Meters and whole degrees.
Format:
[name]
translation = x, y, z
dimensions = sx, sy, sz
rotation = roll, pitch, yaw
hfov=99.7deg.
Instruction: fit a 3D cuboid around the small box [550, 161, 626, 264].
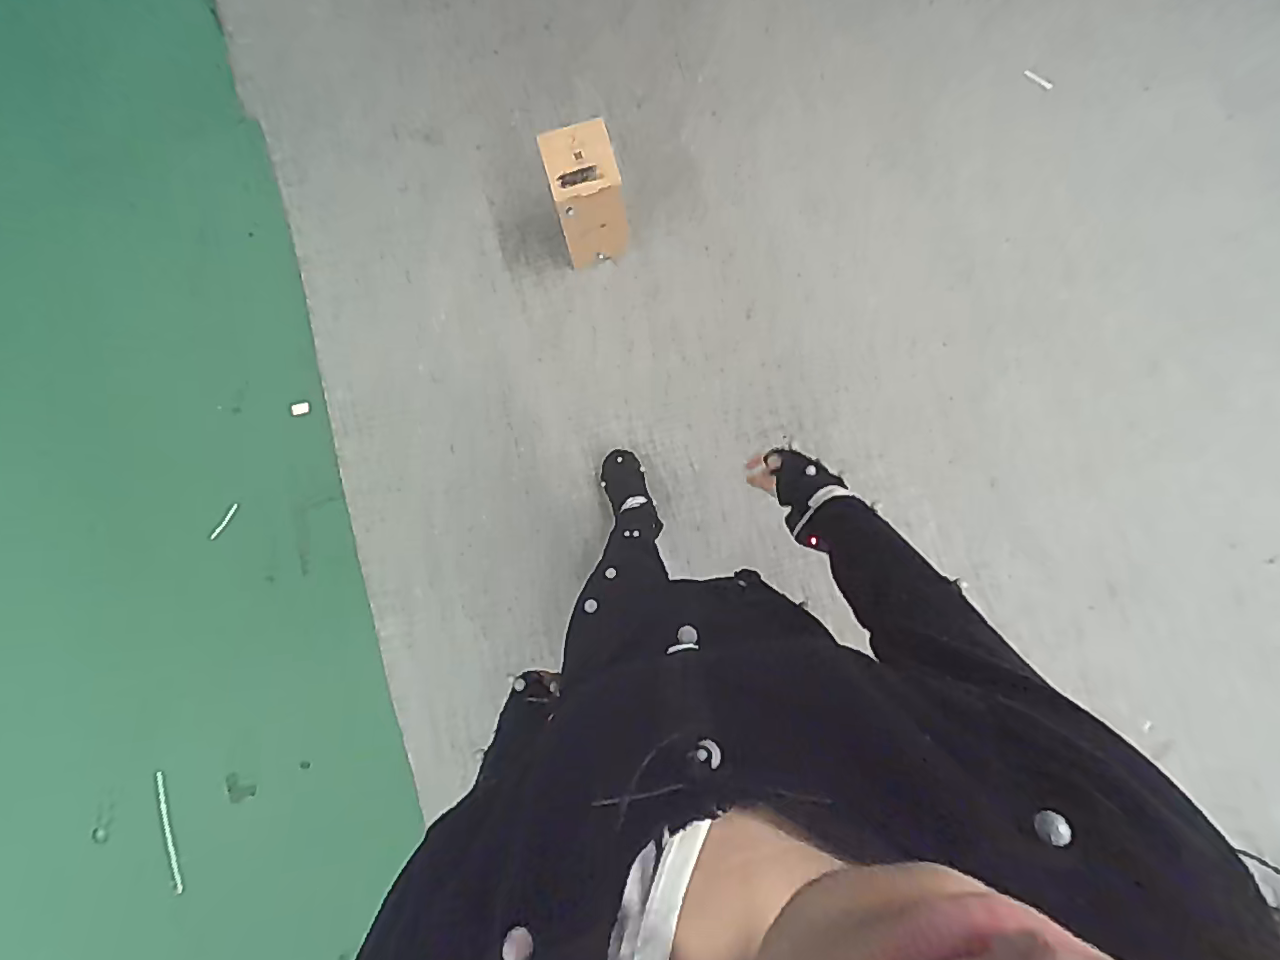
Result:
[small box]
translation = -0.139, -0.731, 1.493
dimensions = 0.168, 0.176, 0.179
rotation = -15, 86, 0
